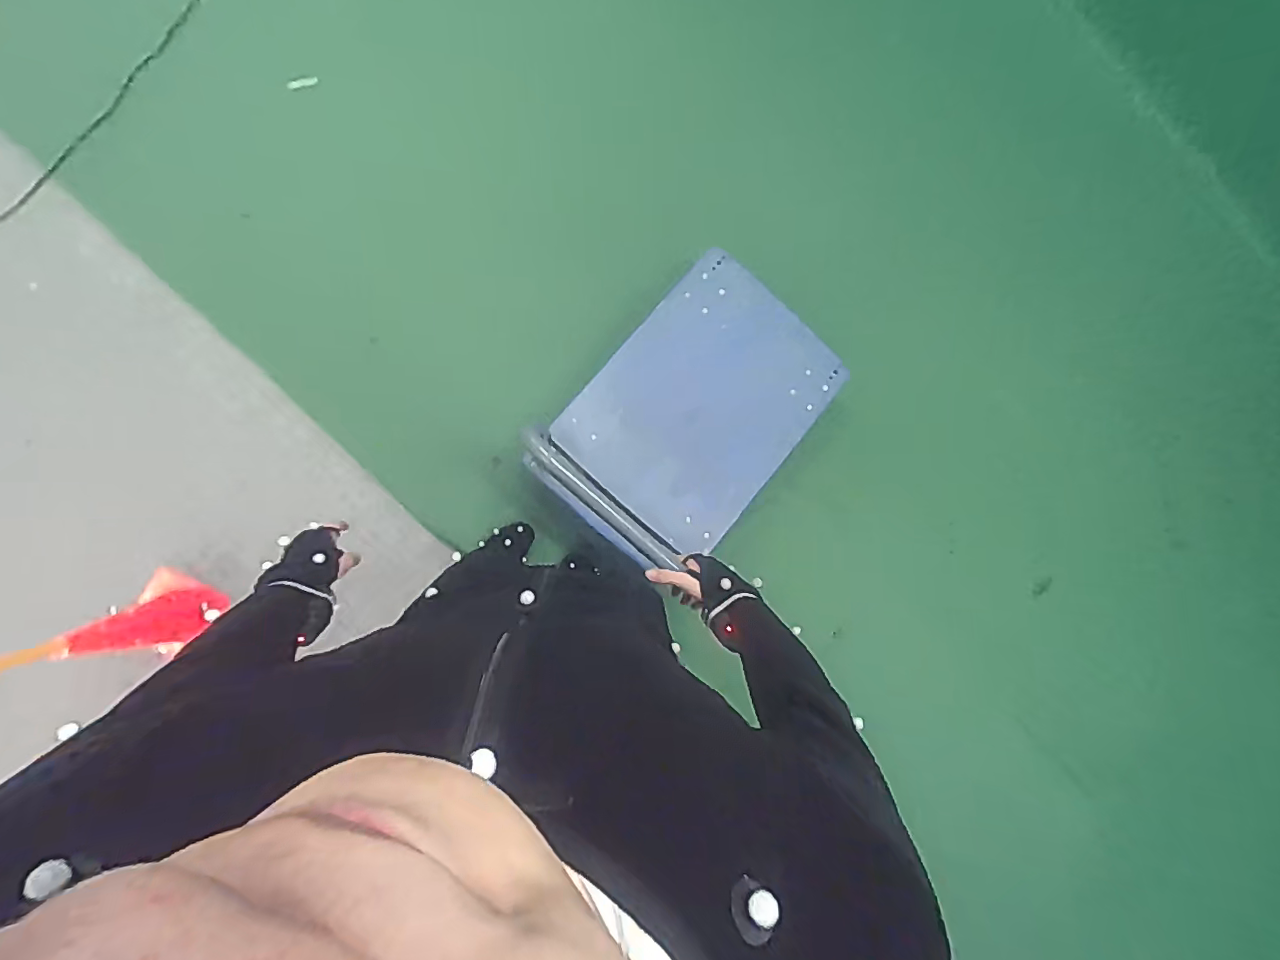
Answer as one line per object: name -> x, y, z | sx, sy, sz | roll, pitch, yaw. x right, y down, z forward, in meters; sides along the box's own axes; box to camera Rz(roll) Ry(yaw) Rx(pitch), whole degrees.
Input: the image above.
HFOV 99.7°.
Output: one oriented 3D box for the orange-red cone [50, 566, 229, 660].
orange-red cone -> -1.207, 0.339, 1.270 | 0.199, 0.360, 0.198 | 30, 81, -5
